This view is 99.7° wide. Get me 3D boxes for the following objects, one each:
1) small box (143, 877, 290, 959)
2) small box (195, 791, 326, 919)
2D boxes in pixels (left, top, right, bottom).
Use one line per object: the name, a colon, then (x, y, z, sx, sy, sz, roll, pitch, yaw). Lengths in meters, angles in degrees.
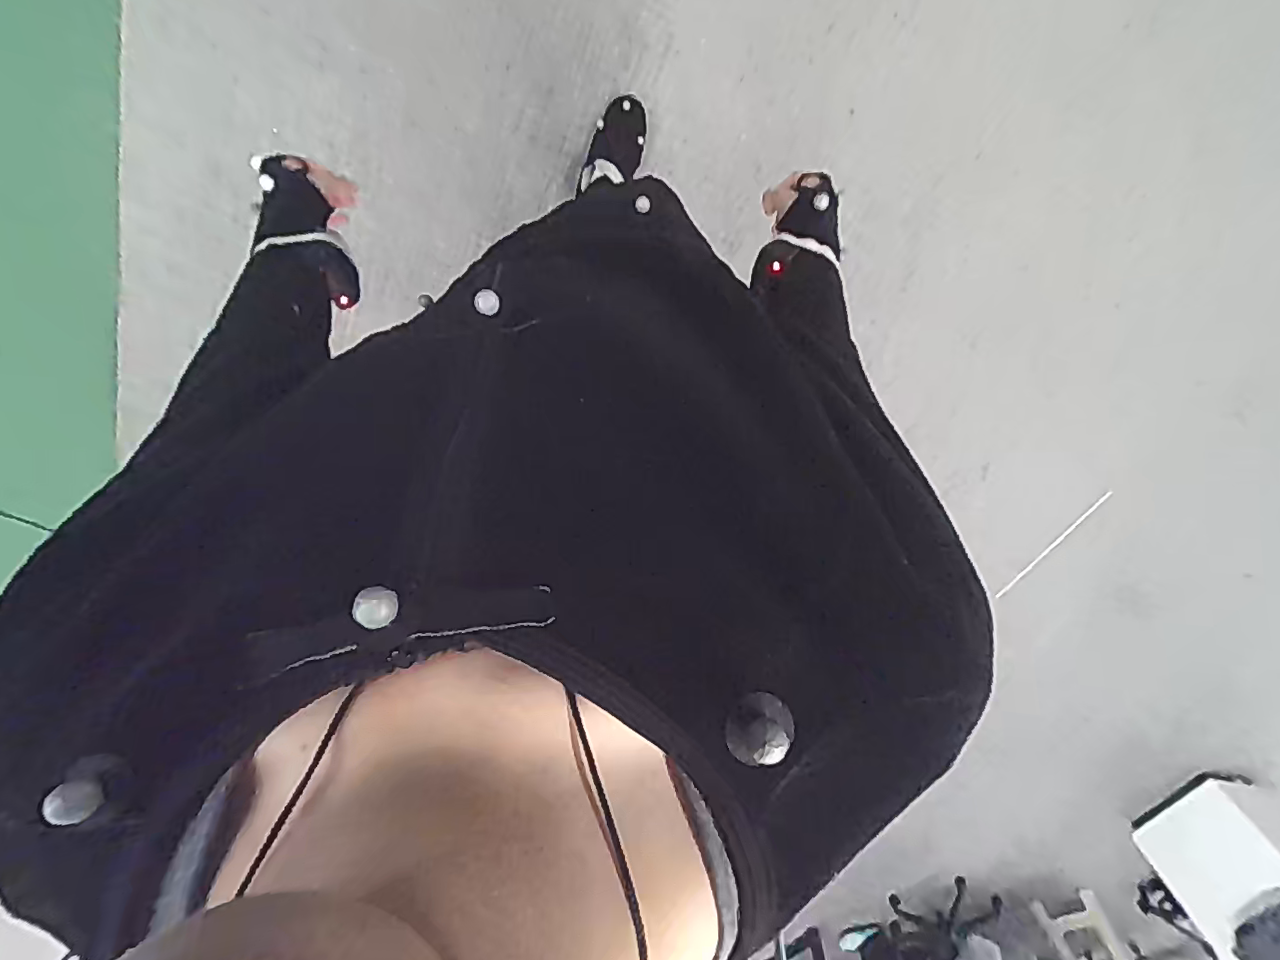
small box: (-0.803, 0.883, 1.016, 0.179, 0.176, 0.168, 22, 119, -13)
small box: (-0.806, 0.801, 1.159, 0.179, 0.176, 0.168, 21, 118, -13)
